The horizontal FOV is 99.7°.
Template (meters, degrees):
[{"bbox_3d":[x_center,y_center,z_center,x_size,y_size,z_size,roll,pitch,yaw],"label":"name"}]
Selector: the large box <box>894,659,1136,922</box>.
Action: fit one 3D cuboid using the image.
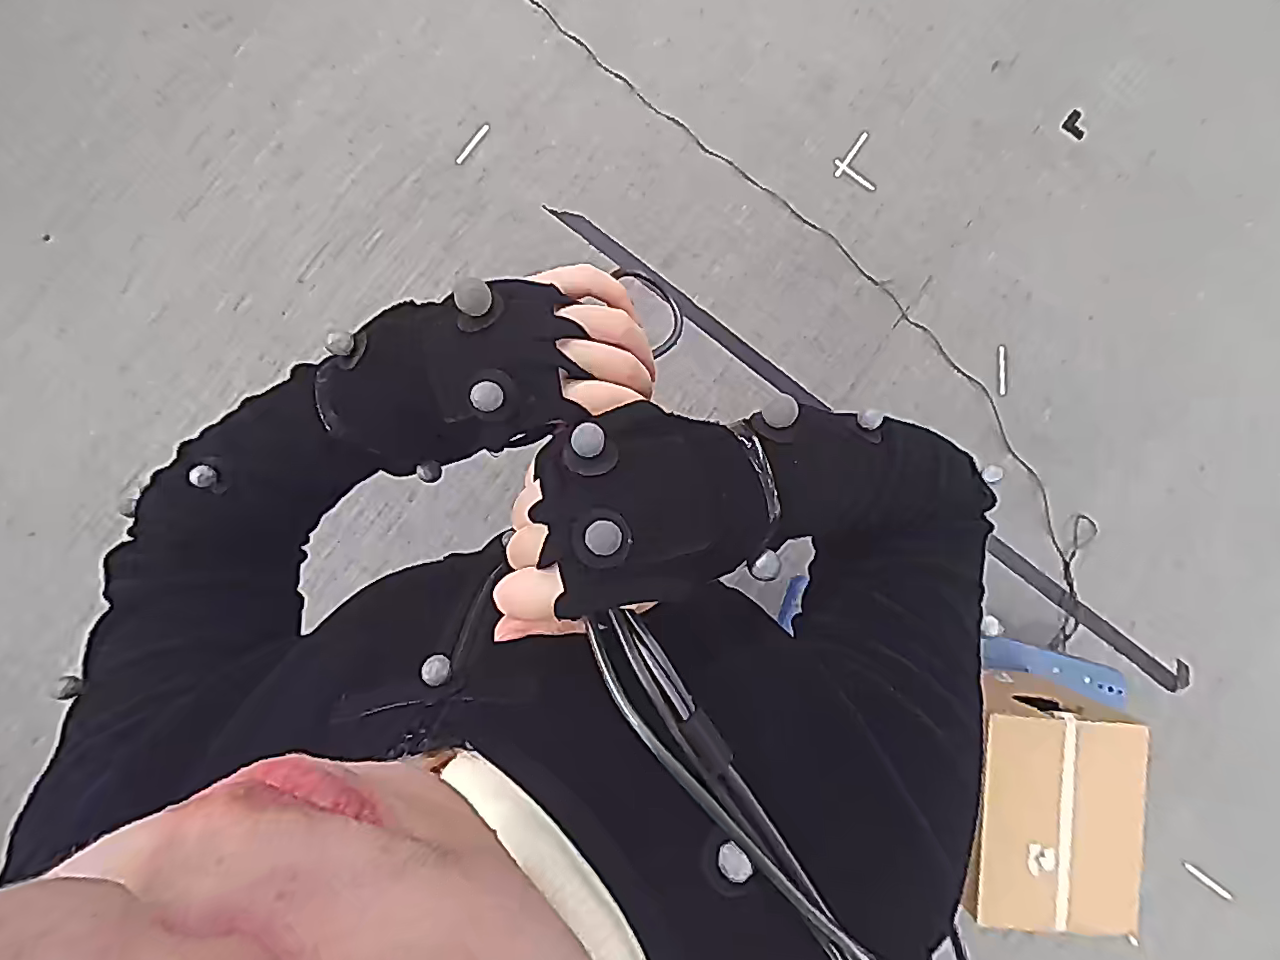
[{"bbox_3d":[0.789,0.644,1.187,0.320,0.320,0.408,5,90,0],"label":"large box"}]
